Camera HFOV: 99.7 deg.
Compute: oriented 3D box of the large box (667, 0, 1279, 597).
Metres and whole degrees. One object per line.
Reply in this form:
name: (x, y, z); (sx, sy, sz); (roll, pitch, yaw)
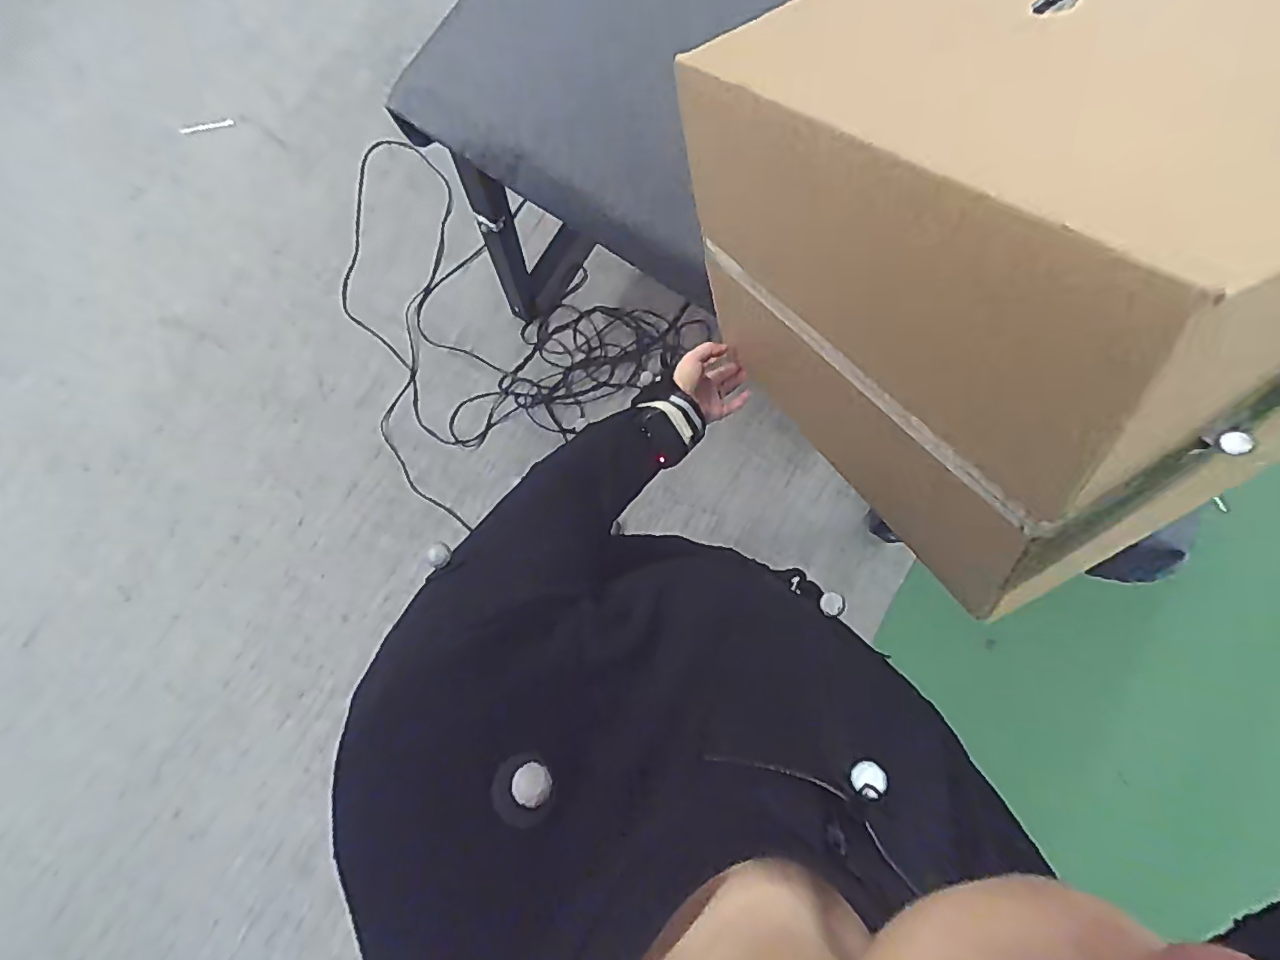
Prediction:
large box: (0.272, -0.189, 0.423); (0.320, 0.320, 0.408); (-30, 53, -3)
